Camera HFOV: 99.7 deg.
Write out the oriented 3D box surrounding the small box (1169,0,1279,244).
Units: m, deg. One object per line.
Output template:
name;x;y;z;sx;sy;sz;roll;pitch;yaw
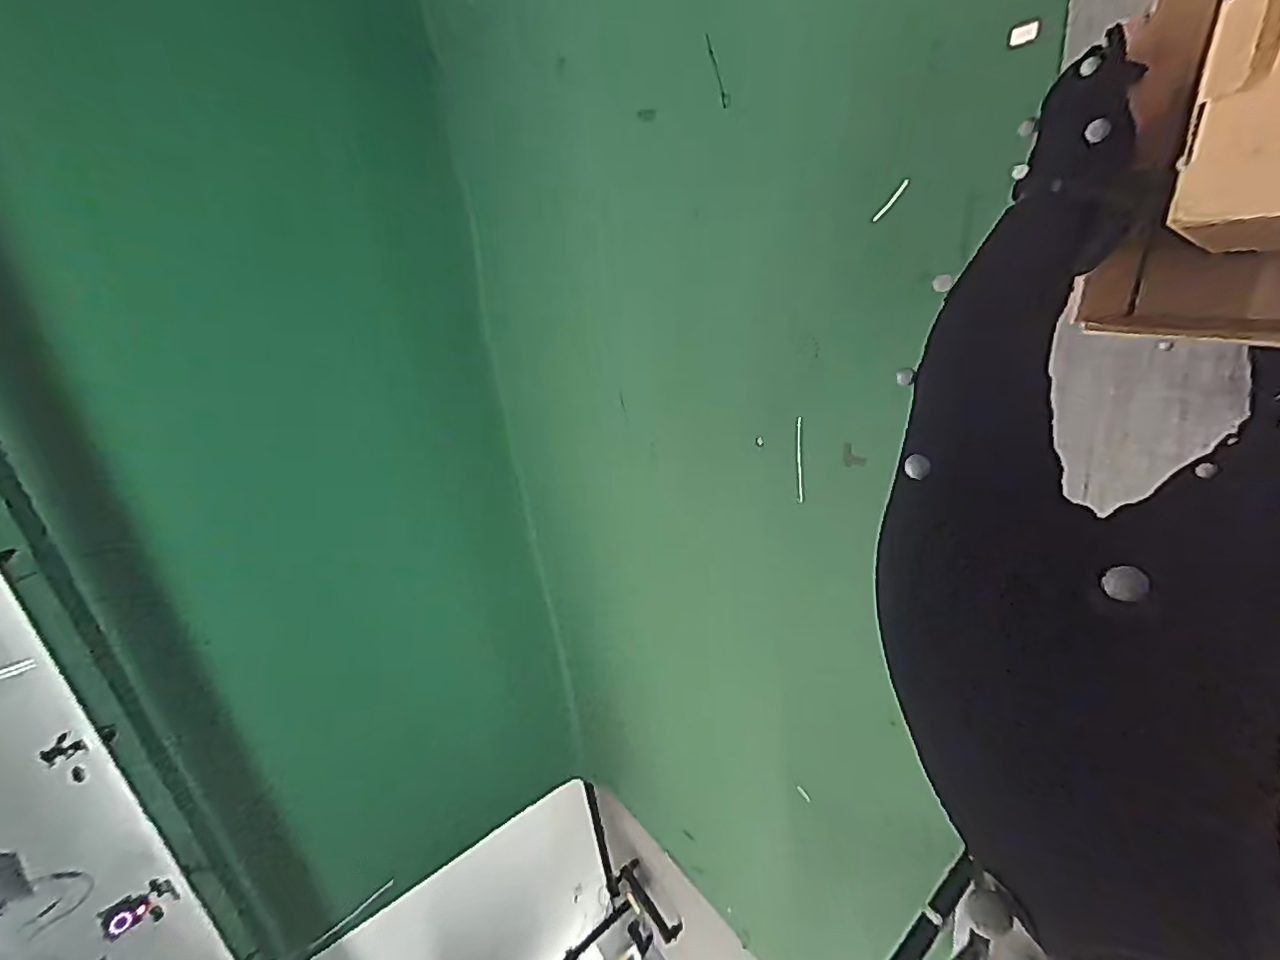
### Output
small box;0.421;-0.218;0.271;0.179;0.176;0.168;20;117;47
